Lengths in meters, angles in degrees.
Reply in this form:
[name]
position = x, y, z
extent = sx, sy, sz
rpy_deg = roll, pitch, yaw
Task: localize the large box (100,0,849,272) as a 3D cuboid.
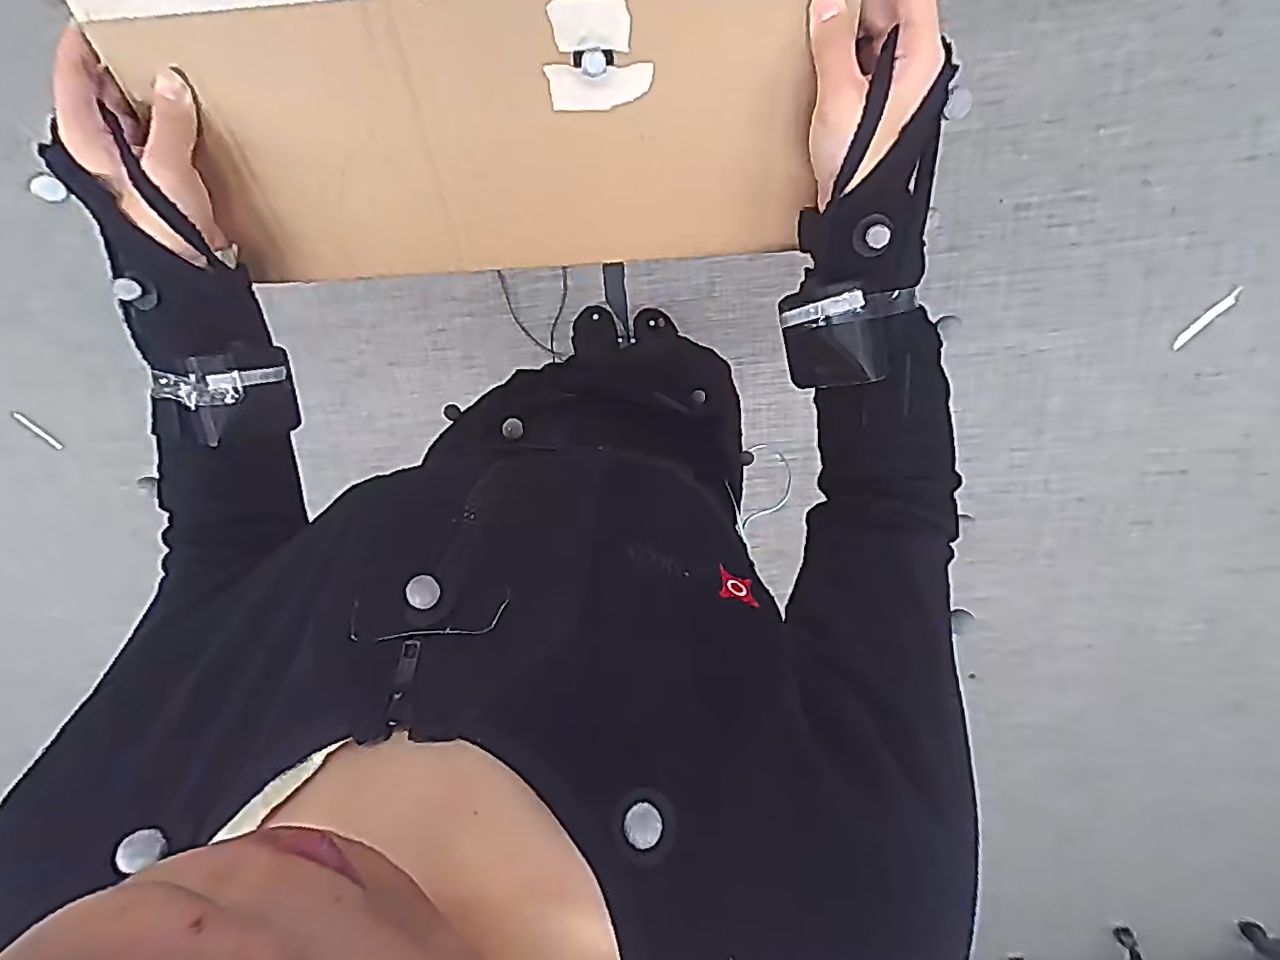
[large box]
position = -0.090, -0.373, 0.378
extent = 0.408, 0.320, 0.320
rpy_deg = -3, 135, 3
